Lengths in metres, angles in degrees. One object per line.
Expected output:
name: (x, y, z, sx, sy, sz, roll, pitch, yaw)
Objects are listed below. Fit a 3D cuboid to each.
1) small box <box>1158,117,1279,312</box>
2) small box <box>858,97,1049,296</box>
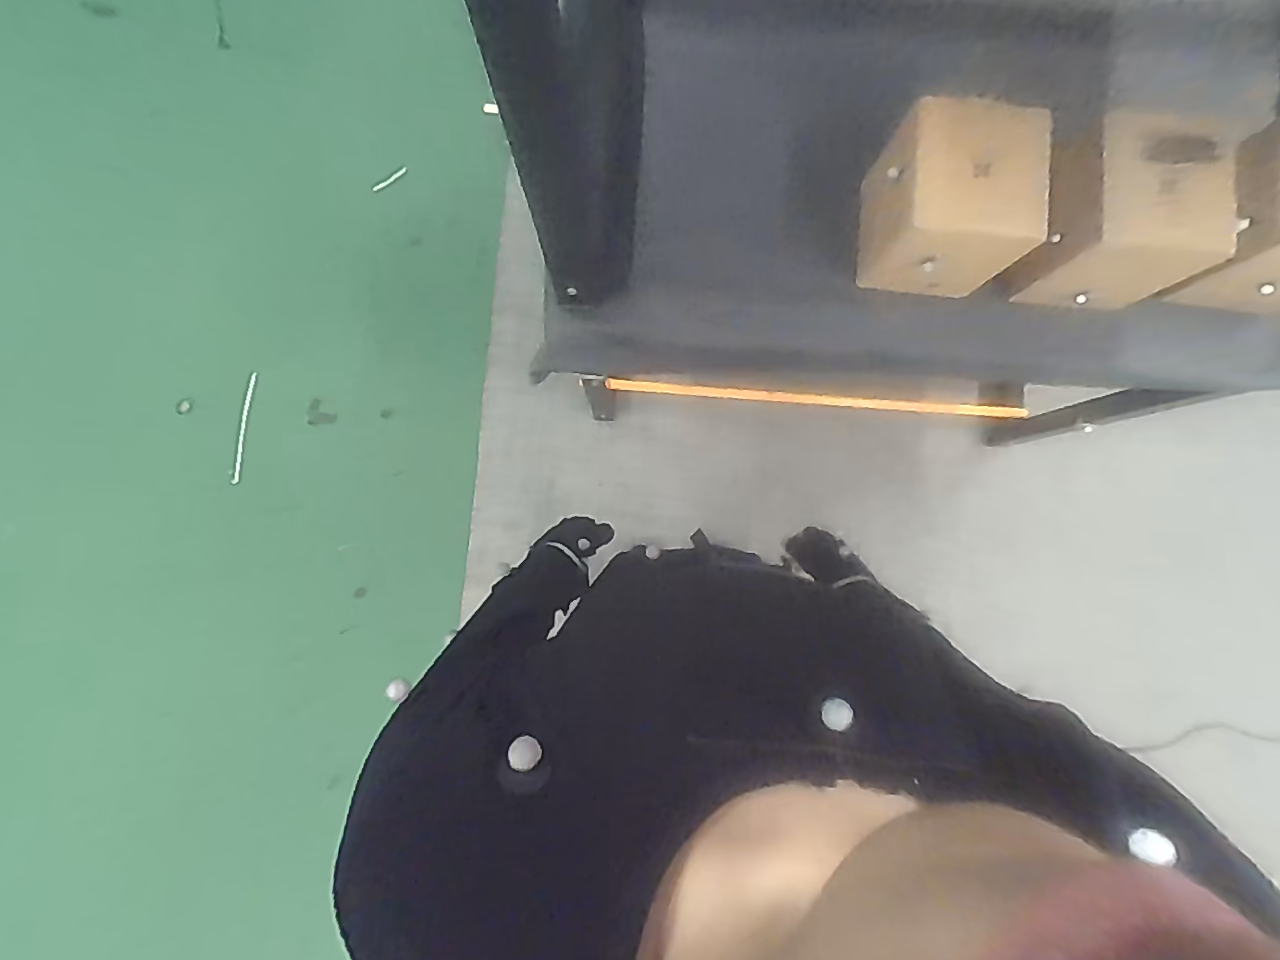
small box: (0.865, -0.350, 0.739, 0.168, 0.176, 0.179, 7, 83, 0)
small box: (0.413, -0.372, 0.739, 0.168, 0.176, 0.179, 6, 84, 0)
